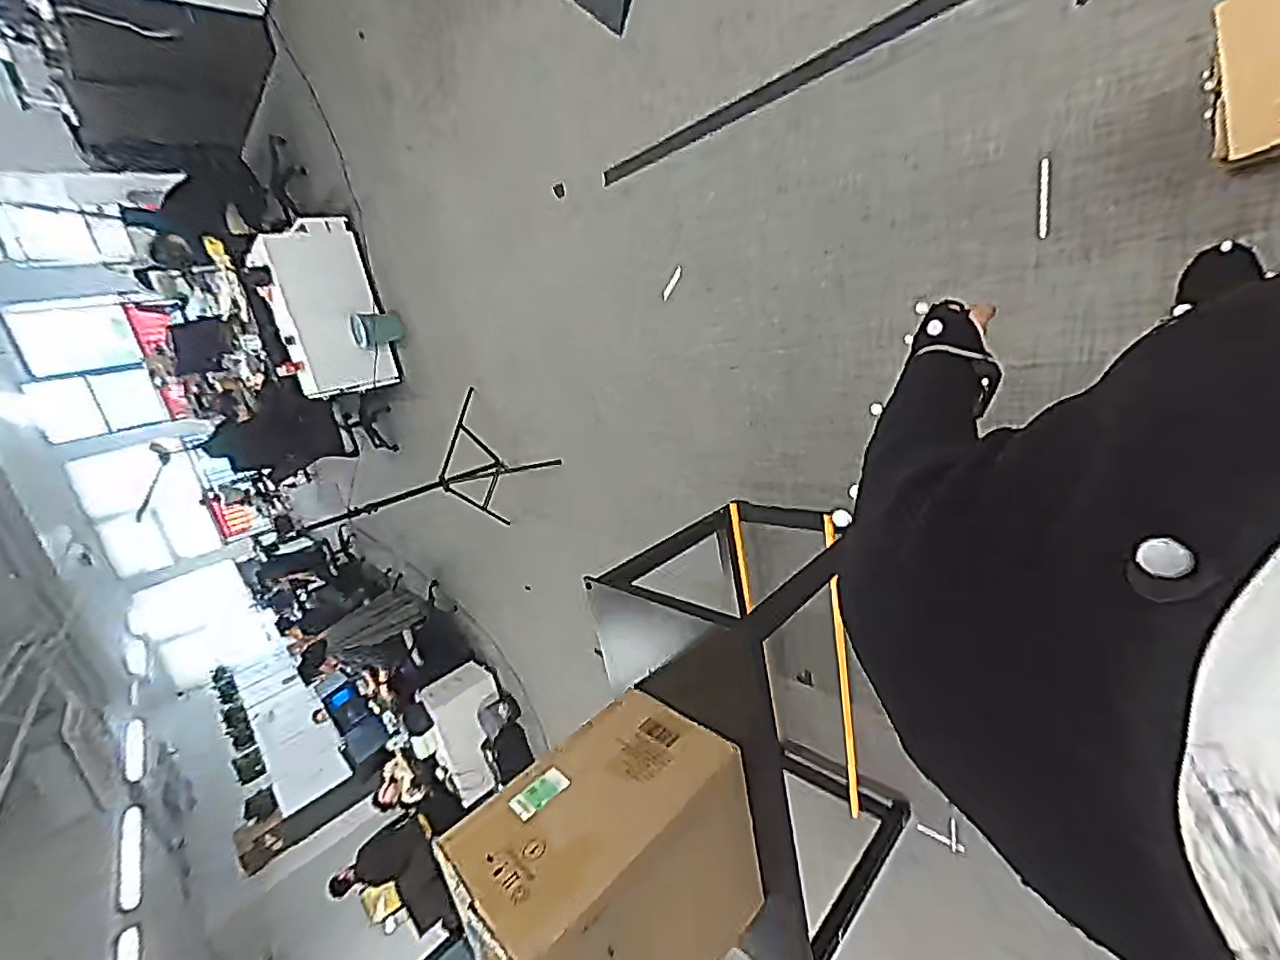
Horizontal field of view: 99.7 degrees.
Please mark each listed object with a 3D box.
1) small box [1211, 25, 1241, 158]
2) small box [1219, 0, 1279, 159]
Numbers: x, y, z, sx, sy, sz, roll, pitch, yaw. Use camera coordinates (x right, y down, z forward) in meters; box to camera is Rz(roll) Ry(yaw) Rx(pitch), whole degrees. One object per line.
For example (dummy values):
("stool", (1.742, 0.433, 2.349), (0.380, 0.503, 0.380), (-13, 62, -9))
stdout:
("small box", (0.892, -0.548, 0.716), (0.179, 0.176, 0.168), (0, 110, 49))
("small box", (0.781, -0.489, 0.609), (0.168, 0.176, 0.179), (-5, 106, 51))
